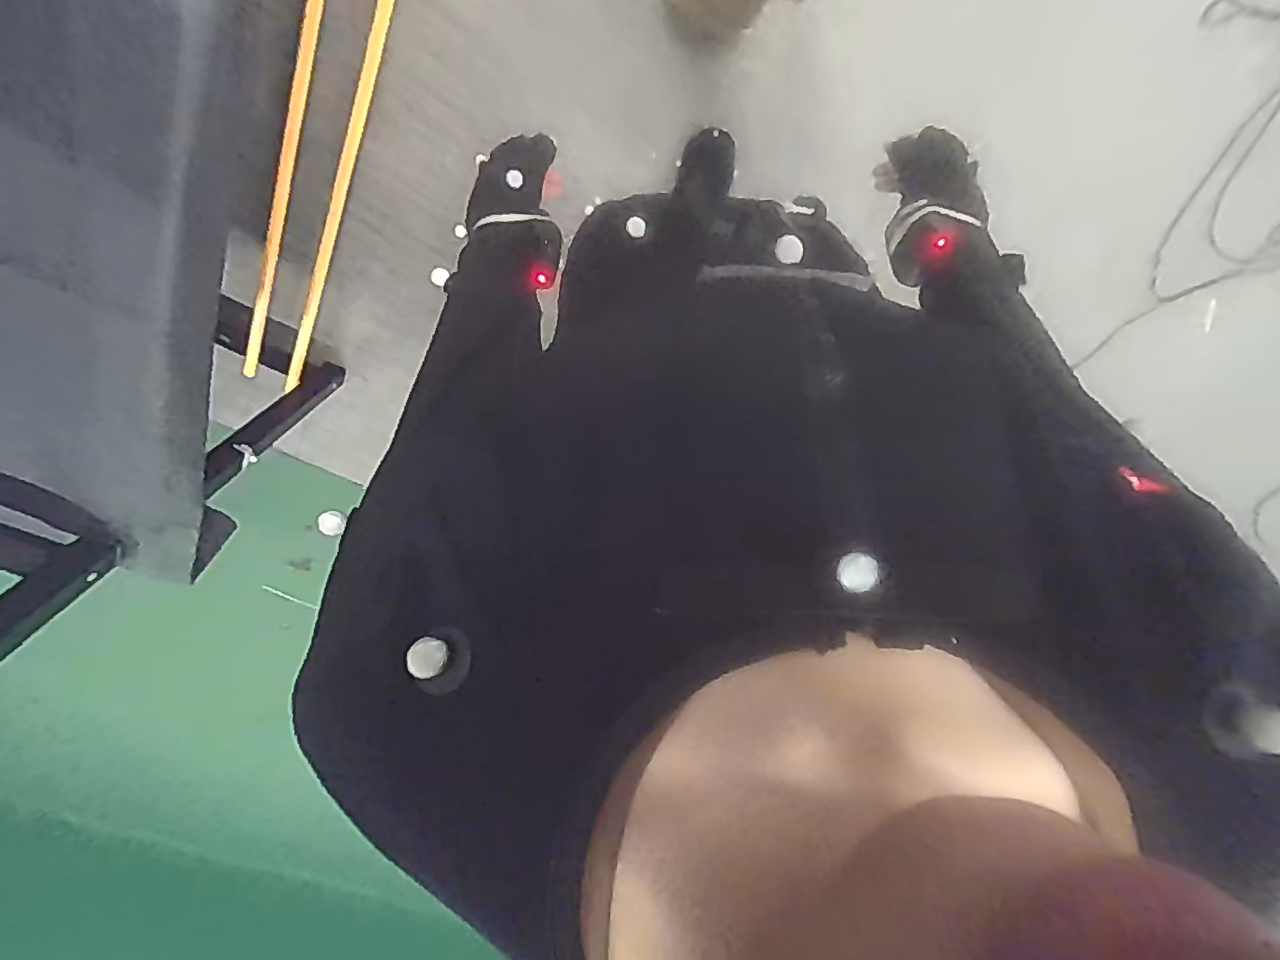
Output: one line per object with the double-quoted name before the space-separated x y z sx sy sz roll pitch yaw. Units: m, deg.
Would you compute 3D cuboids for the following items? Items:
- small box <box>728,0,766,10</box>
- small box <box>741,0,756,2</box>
"small box" 0.148 -0.837 0.795 0.179 0.176 0.168 25 122 -12
"small box" 0.129 -0.738 0.666 0.179 0.176 0.168 26 122 -15
